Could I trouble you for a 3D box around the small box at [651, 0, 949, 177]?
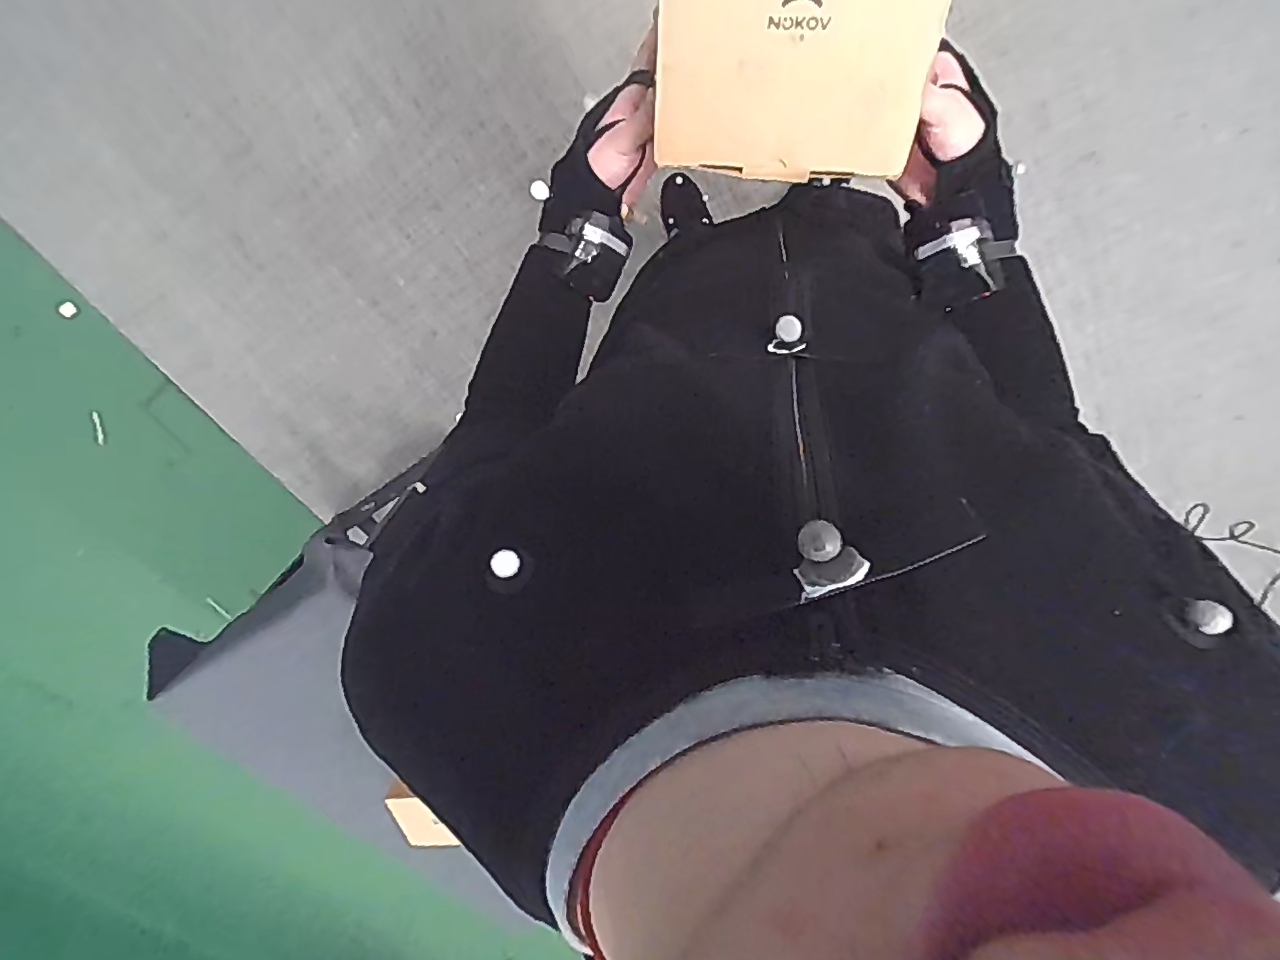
[{"bbox_3d":[0.100,-0.324,0.368,0.168,0.176,0.179,5,128,4],"label":"small box"}]
